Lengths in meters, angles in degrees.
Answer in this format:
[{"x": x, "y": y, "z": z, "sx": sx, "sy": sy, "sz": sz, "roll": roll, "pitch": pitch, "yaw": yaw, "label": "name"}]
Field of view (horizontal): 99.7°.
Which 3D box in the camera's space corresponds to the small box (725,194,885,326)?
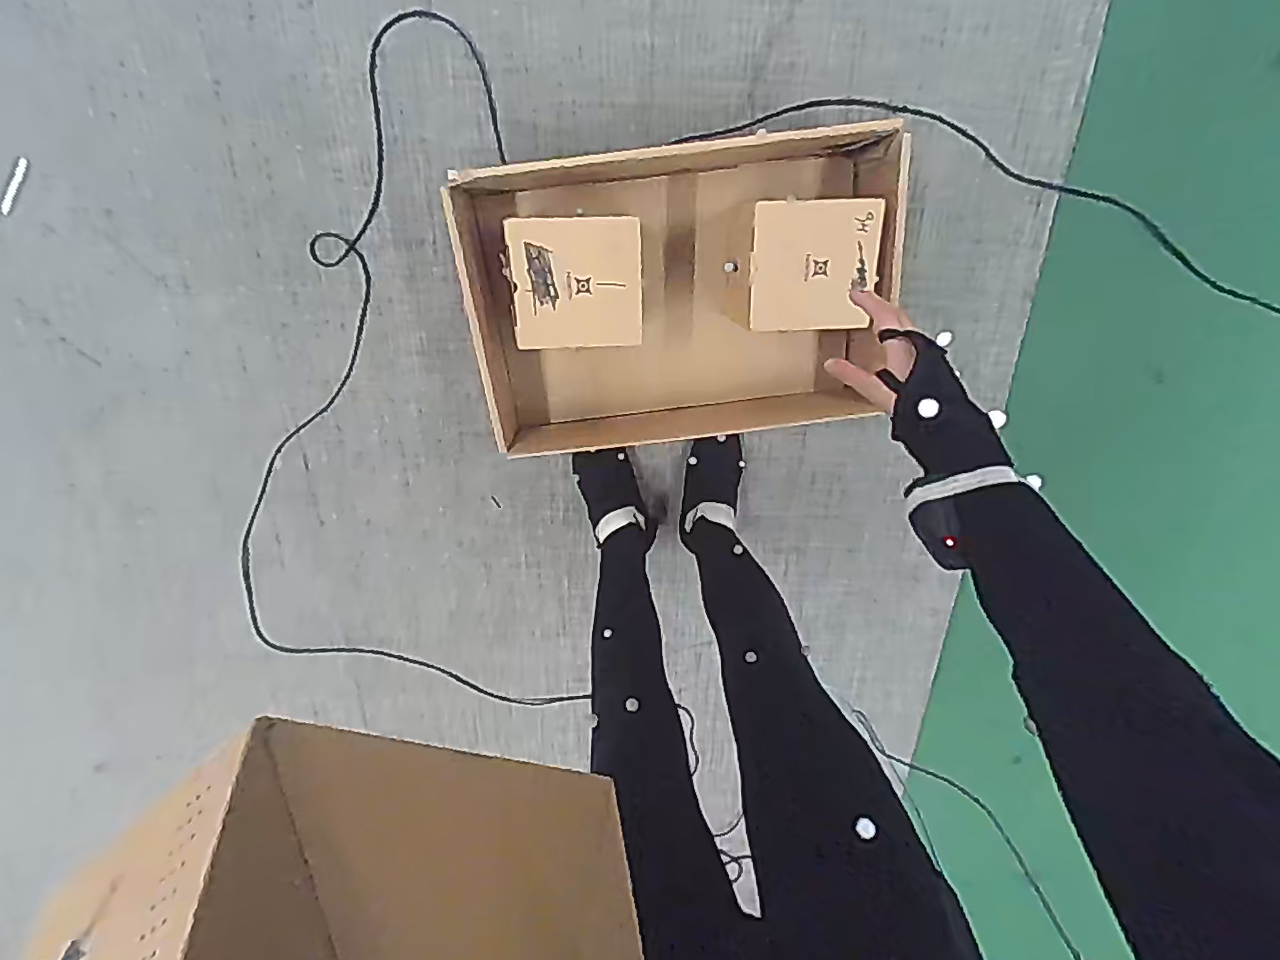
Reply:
[{"x": 0.229, "y": -0.322, "z": 0.802, "sx": 0.179, "sy": 0.176, "sz": 0.168, "roll": -1, "pitch": 113, "yaw": -3, "label": "small box"}]
